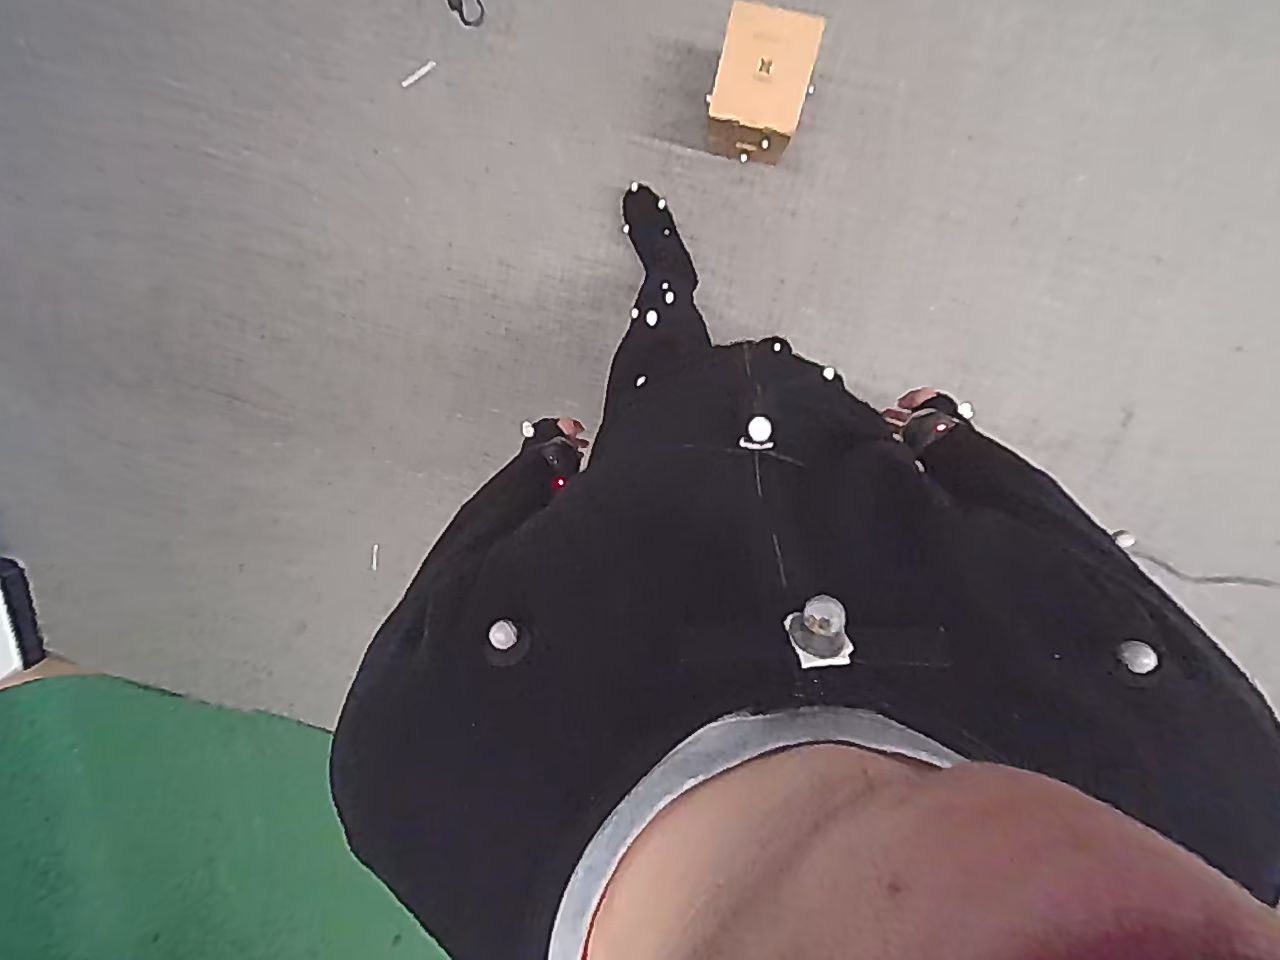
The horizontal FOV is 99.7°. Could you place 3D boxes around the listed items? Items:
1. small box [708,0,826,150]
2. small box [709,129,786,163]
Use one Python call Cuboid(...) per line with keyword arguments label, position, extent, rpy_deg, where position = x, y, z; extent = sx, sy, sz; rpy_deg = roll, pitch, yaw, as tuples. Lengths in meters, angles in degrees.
Cuboid(label="small box", position=(0.230, -0.748, 1.020), extent=(0.168, 0.176, 0.179), rpy_deg=(13, 111, 2))
Cuboid(label="small box", position=(0.252, -0.806, 1.169), extent=(0.168, 0.176, 0.179), rpy_deg=(13, 113, 3))
